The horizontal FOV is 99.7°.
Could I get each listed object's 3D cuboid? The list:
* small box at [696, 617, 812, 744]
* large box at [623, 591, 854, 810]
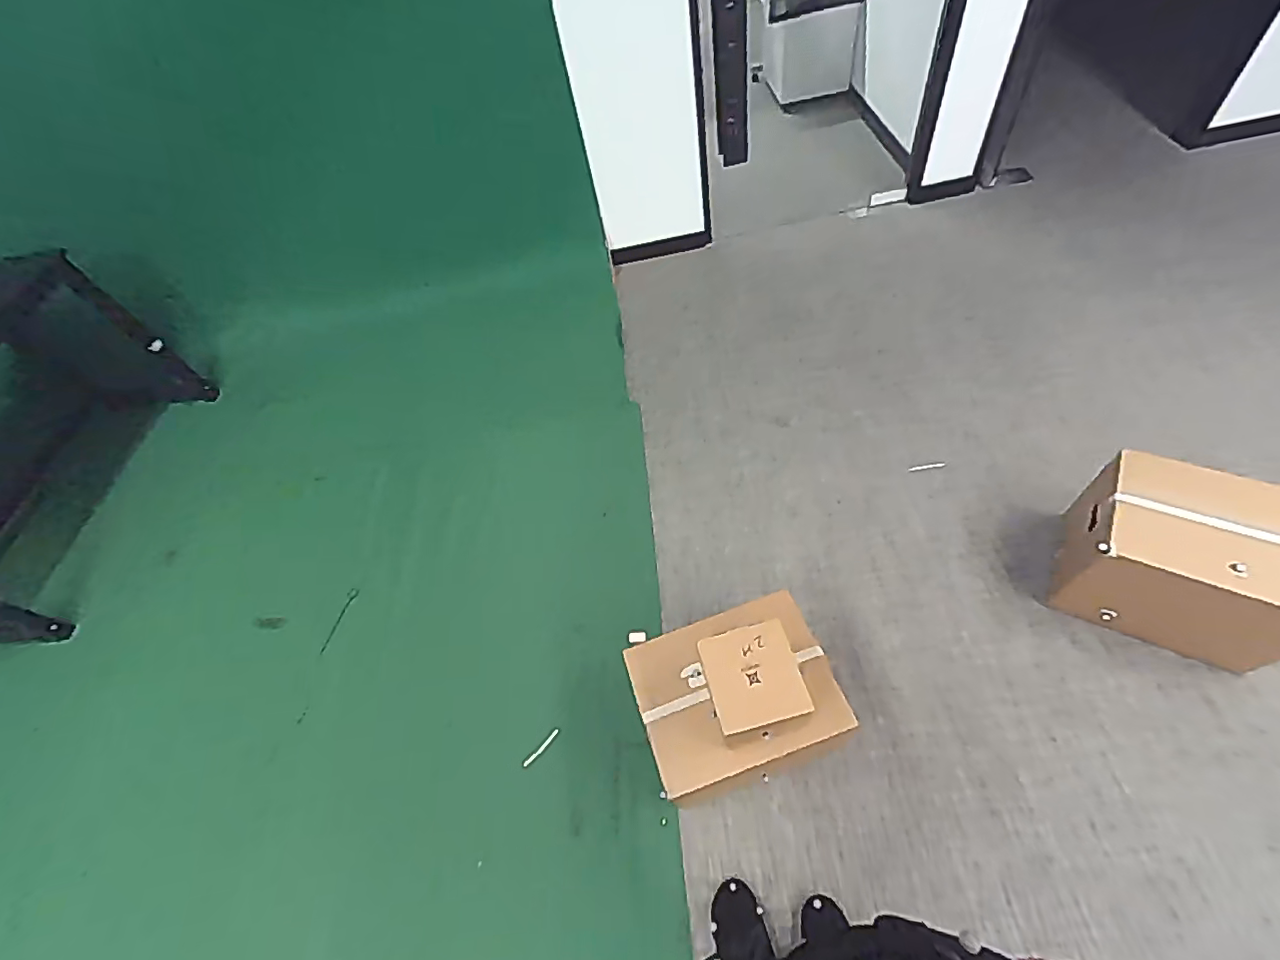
[{"bbox_3d":[0.212,0.391,1.035,0.168,0.176,0.179,-14,54,-1],"label":"small box"},{"bbox_3d":[0.217,0.517,1.252,0.408,0.320,0.320,-20,53,-2],"label":"large box"}]
